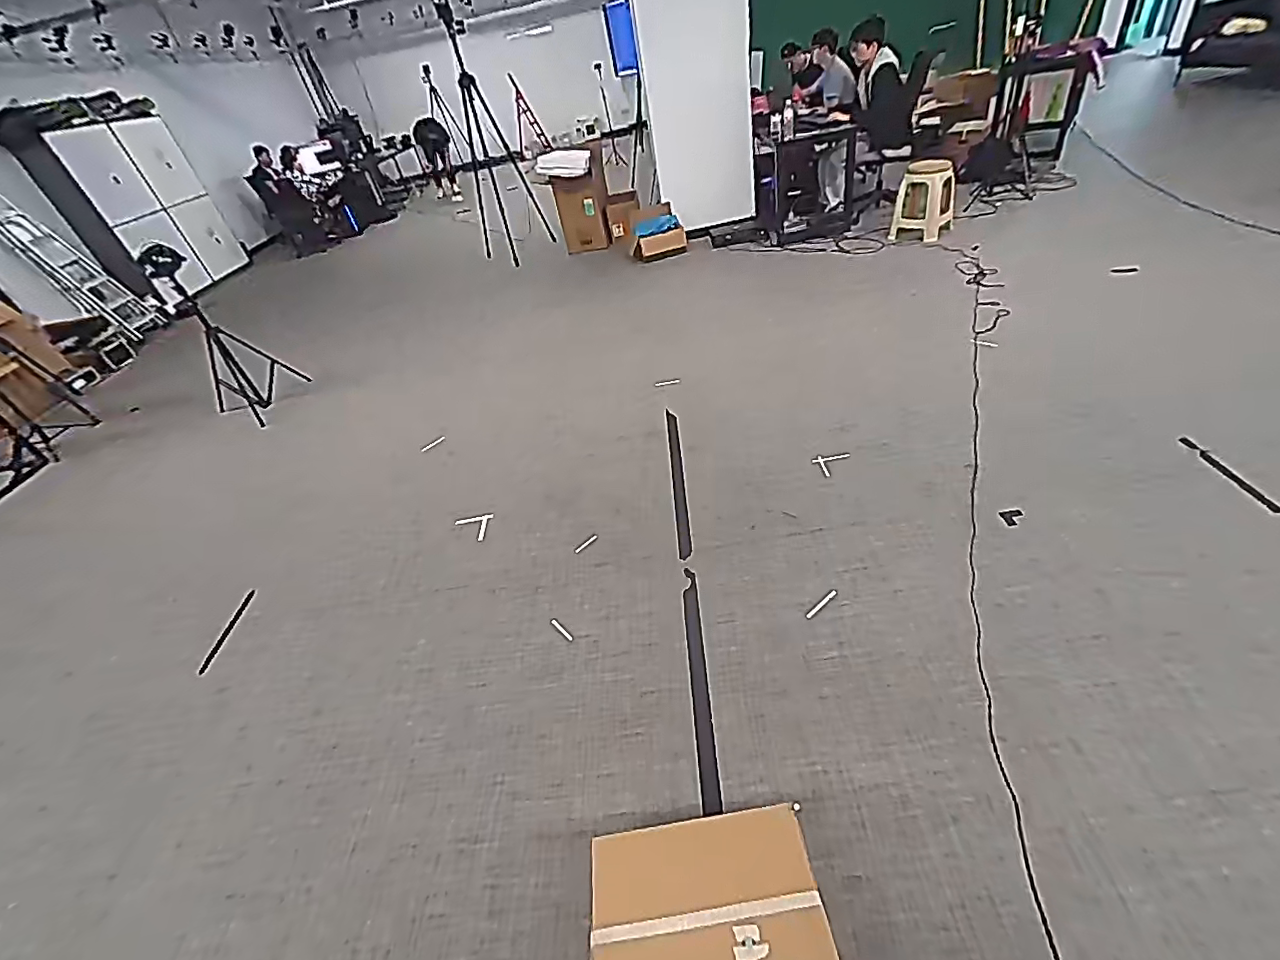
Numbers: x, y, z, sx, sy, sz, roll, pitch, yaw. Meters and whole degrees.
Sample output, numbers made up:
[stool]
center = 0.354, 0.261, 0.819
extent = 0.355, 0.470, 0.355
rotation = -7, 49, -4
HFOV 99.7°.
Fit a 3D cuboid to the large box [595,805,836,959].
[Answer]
[large box]
center = 0.144, 0.890, 1.045
extent = 0.408, 0.320, 0.320
rotation = -11, 38, 2
